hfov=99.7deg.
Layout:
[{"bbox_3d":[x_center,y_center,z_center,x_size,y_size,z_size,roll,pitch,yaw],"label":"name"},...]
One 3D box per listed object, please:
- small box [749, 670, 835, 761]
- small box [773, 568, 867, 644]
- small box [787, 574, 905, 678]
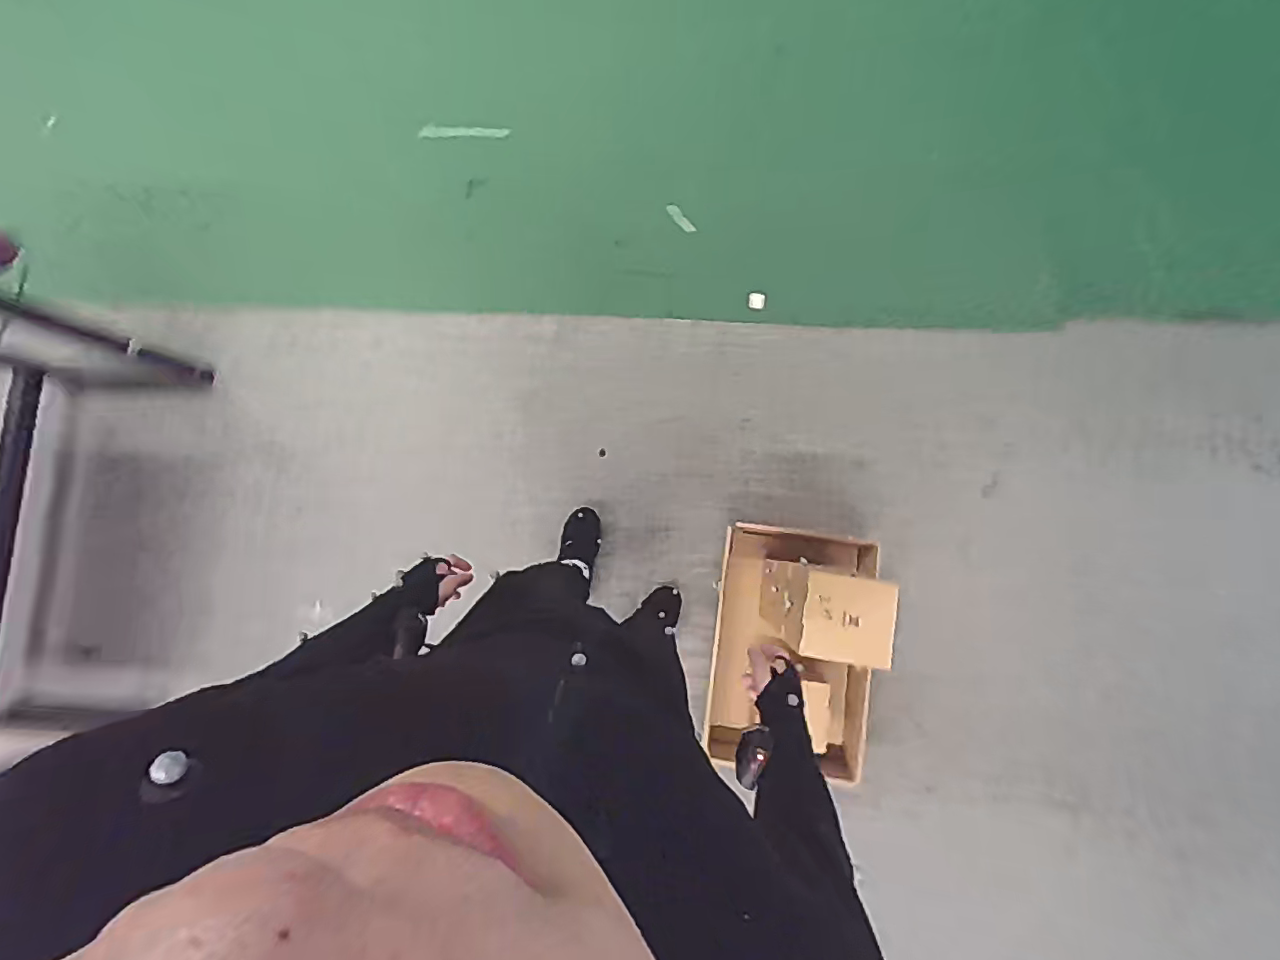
[{"bbox_3d":[0.390,0.604,1.410,0.179,0.176,0.168,8,82,7],"label":"small box"},{"bbox_3d":[0.425,0.305,1.281,0.179,0.176,0.168,8,84,6],"label":"small box"},{"bbox_3d":[0.416,0.291,1.117,0.179,0.176,0.168,9,84,6],"label":"small box"}]
